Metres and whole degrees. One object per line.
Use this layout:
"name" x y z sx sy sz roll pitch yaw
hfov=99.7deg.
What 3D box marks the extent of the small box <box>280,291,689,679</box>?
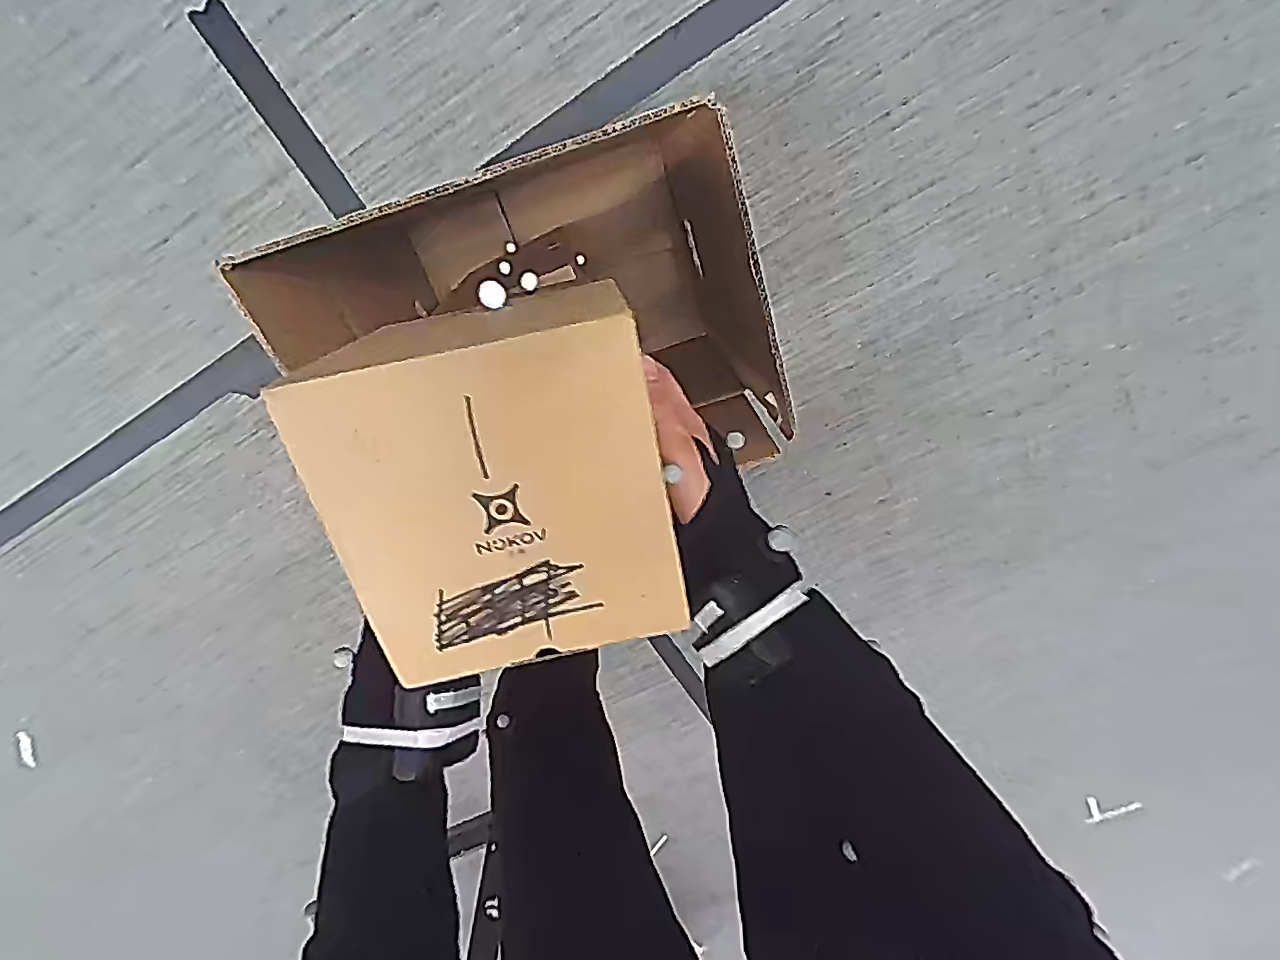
"small box" -0.071 -0.011 0.344 0.168 0.176 0.179 -12 113 -1
